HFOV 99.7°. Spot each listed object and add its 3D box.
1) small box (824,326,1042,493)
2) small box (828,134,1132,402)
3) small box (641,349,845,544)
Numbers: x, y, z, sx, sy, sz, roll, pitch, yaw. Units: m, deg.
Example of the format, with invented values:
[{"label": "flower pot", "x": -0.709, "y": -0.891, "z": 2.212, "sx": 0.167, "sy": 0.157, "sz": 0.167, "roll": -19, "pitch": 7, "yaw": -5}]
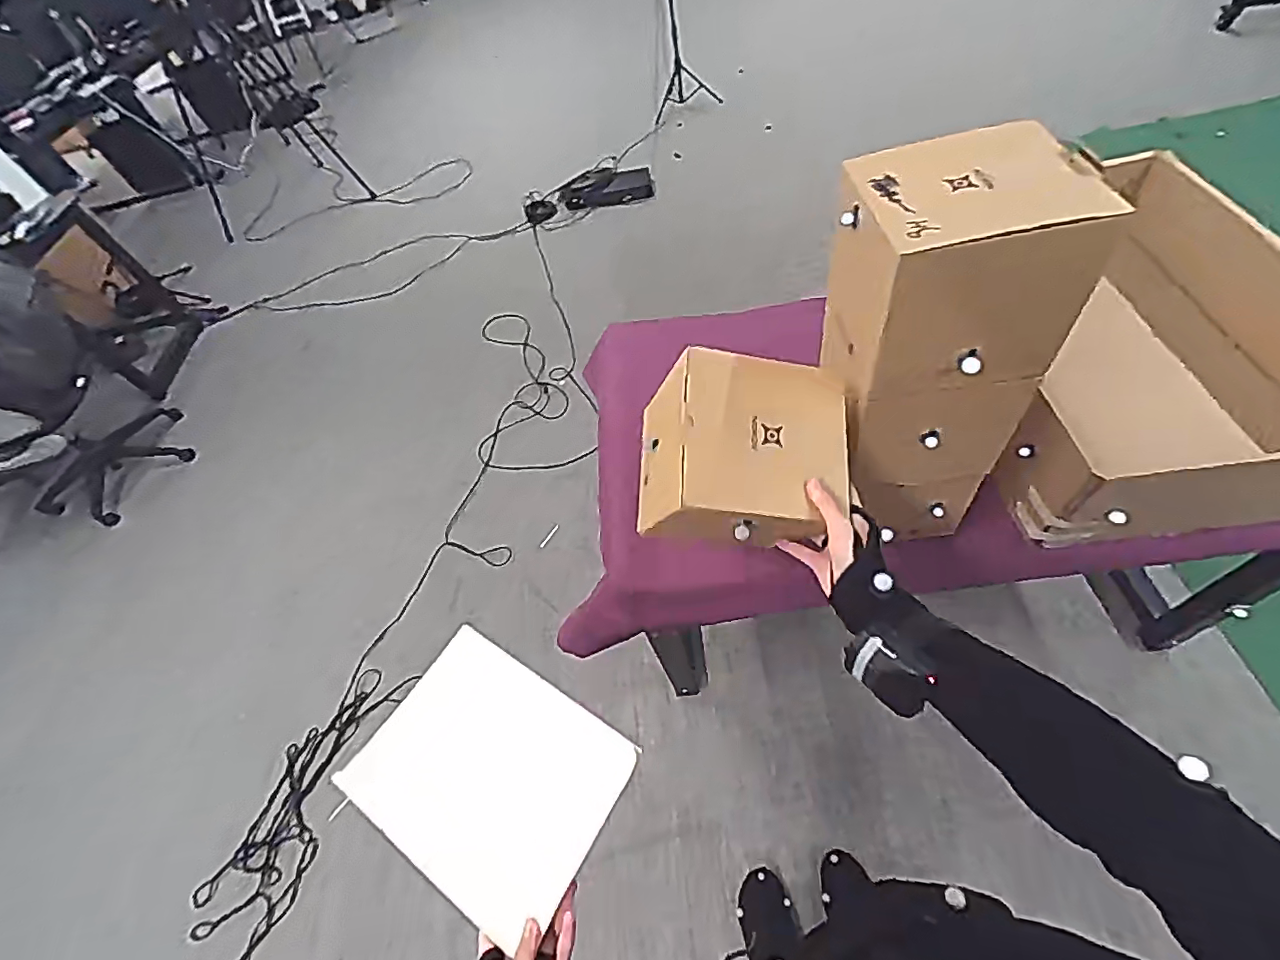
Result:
[{"label": "small box", "x": 0.327, "y": -0.102, "z": 0.655, "sx": 0.179, "sy": 0.176, "sz": 0.168, "roll": -8, "pitch": 52, "yaw": 8}, {"label": "small box", "x": 0.297, "y": -0.198, "z": 0.525, "sx": 0.179, "sy": 0.176, "sz": 0.168, "roll": -8, "pitch": 52, "yaw": 6}, {"label": "small box", "x": 0.108, "y": -0.024, "z": 0.613, "sx": 0.179, "sy": 0.176, "sz": 0.168, "roll": 8, "pitch": 74, "yaw": -9}]
